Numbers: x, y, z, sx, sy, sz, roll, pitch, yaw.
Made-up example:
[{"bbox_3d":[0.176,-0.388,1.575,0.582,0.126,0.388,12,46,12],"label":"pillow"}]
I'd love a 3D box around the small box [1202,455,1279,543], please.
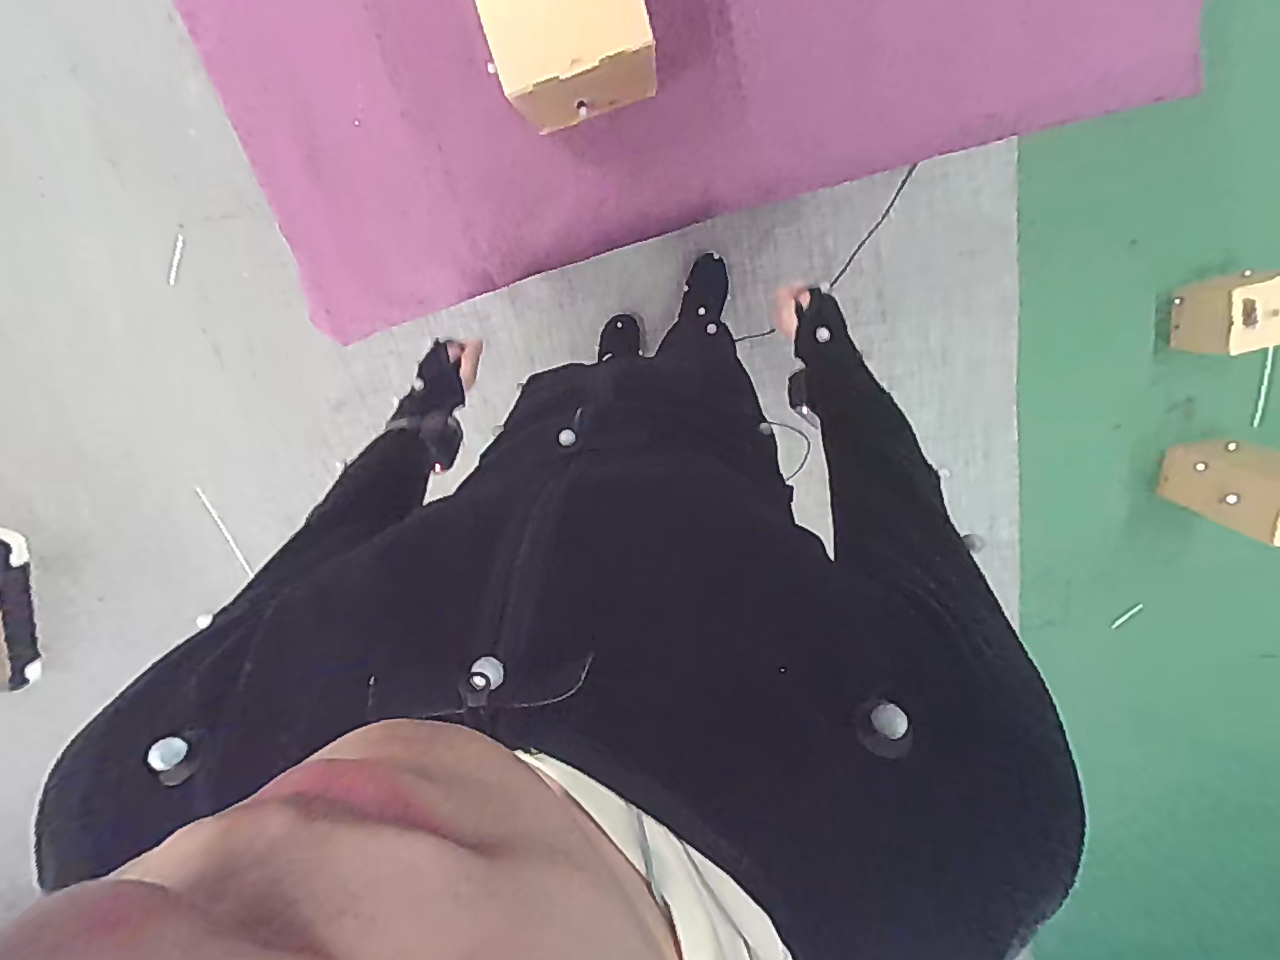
[{"bbox_3d":[1.621,0.043,1.382,0.179,0.176,0.168,-7,111,4],"label":"small box"}]

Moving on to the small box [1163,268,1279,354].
[{"bbox_3d":[1.493,-0.431,1.376,0.179,0.176,0.168,-15,110,7],"label":"small box"}]

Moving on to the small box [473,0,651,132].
[{"bbox_3d":[-0.090,-0.531,0.611,0.168,0.176,0.179,-16,111,7],"label":"small box"}]
